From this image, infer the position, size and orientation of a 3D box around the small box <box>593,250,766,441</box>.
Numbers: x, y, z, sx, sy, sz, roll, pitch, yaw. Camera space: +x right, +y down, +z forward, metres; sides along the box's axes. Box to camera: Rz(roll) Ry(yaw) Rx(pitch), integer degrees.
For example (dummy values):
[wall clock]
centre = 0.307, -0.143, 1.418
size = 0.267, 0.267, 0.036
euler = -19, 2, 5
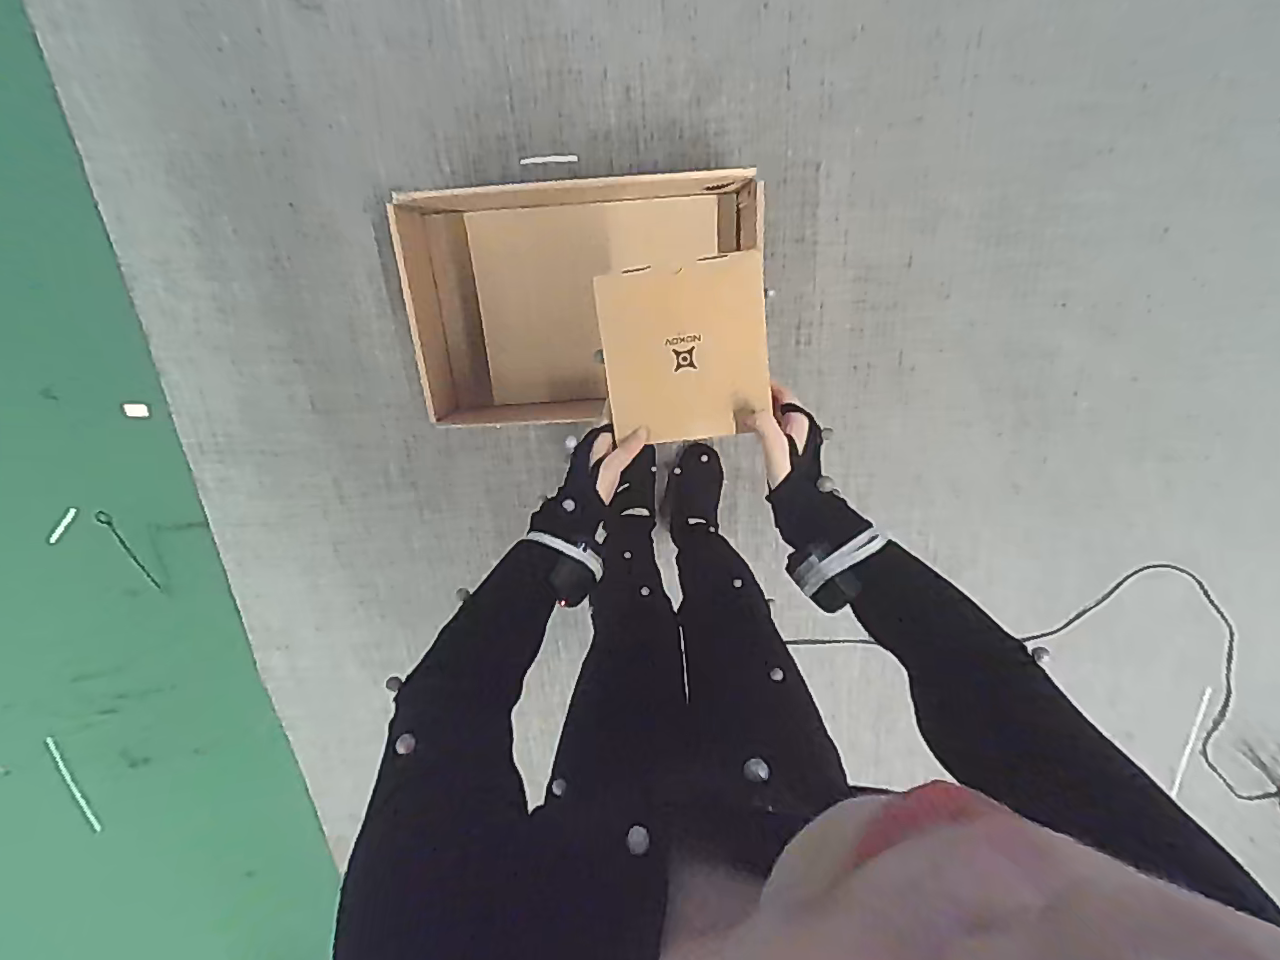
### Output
[small box]
centre = 0.052, -0.152, 0.626
size = 0.168, 0.176, 0.179
euler = -6, 103, 8
